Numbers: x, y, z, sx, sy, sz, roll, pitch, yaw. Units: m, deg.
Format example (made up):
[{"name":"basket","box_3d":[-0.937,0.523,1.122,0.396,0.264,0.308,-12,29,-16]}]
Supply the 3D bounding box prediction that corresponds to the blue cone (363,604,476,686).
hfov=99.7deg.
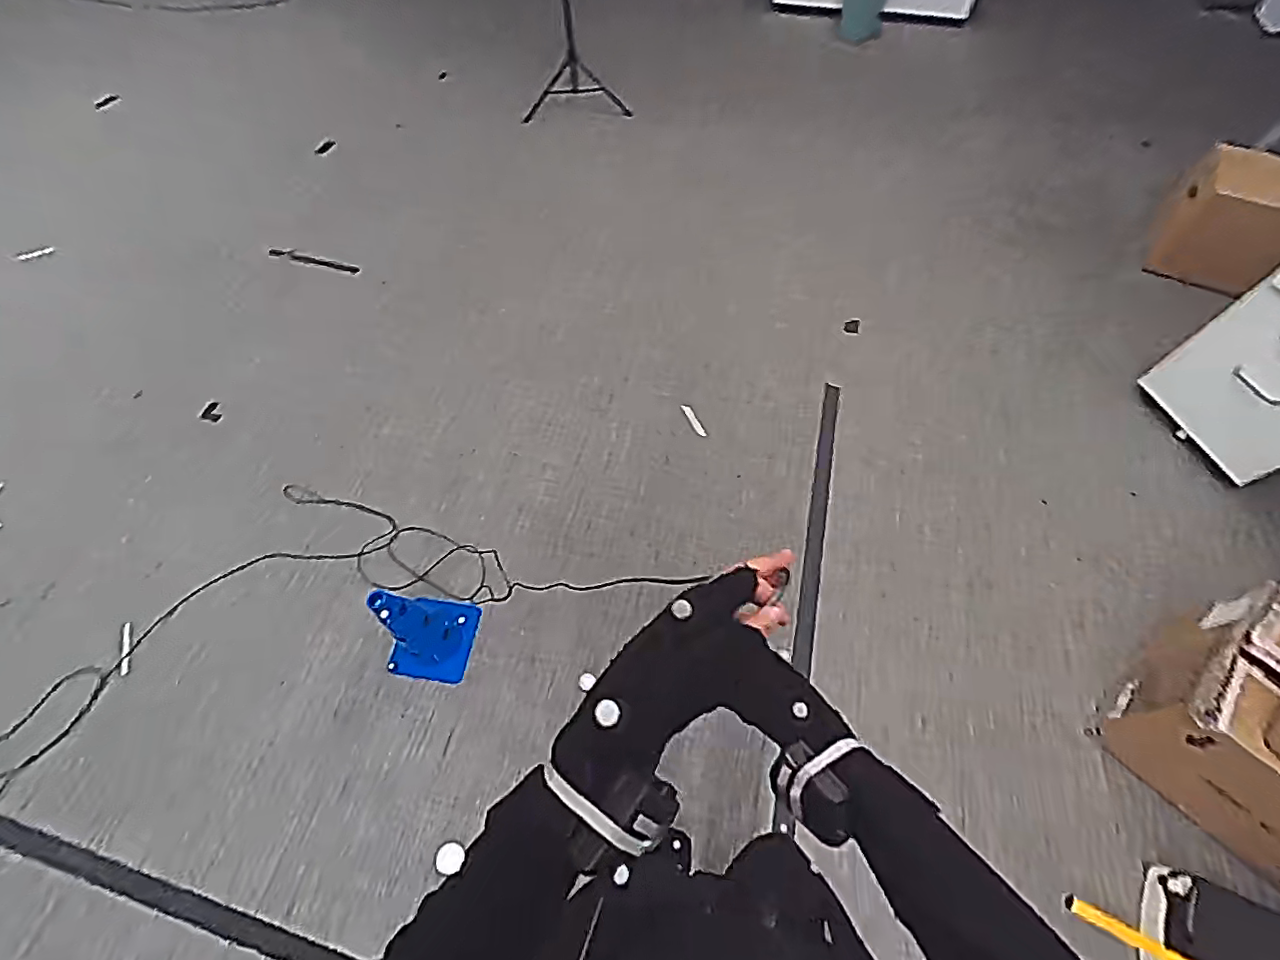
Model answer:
[{"name":"blue cone","box_3d":[-0.534,0.345,1.250,0.193,0.380,0.192,8,62,6]}]
